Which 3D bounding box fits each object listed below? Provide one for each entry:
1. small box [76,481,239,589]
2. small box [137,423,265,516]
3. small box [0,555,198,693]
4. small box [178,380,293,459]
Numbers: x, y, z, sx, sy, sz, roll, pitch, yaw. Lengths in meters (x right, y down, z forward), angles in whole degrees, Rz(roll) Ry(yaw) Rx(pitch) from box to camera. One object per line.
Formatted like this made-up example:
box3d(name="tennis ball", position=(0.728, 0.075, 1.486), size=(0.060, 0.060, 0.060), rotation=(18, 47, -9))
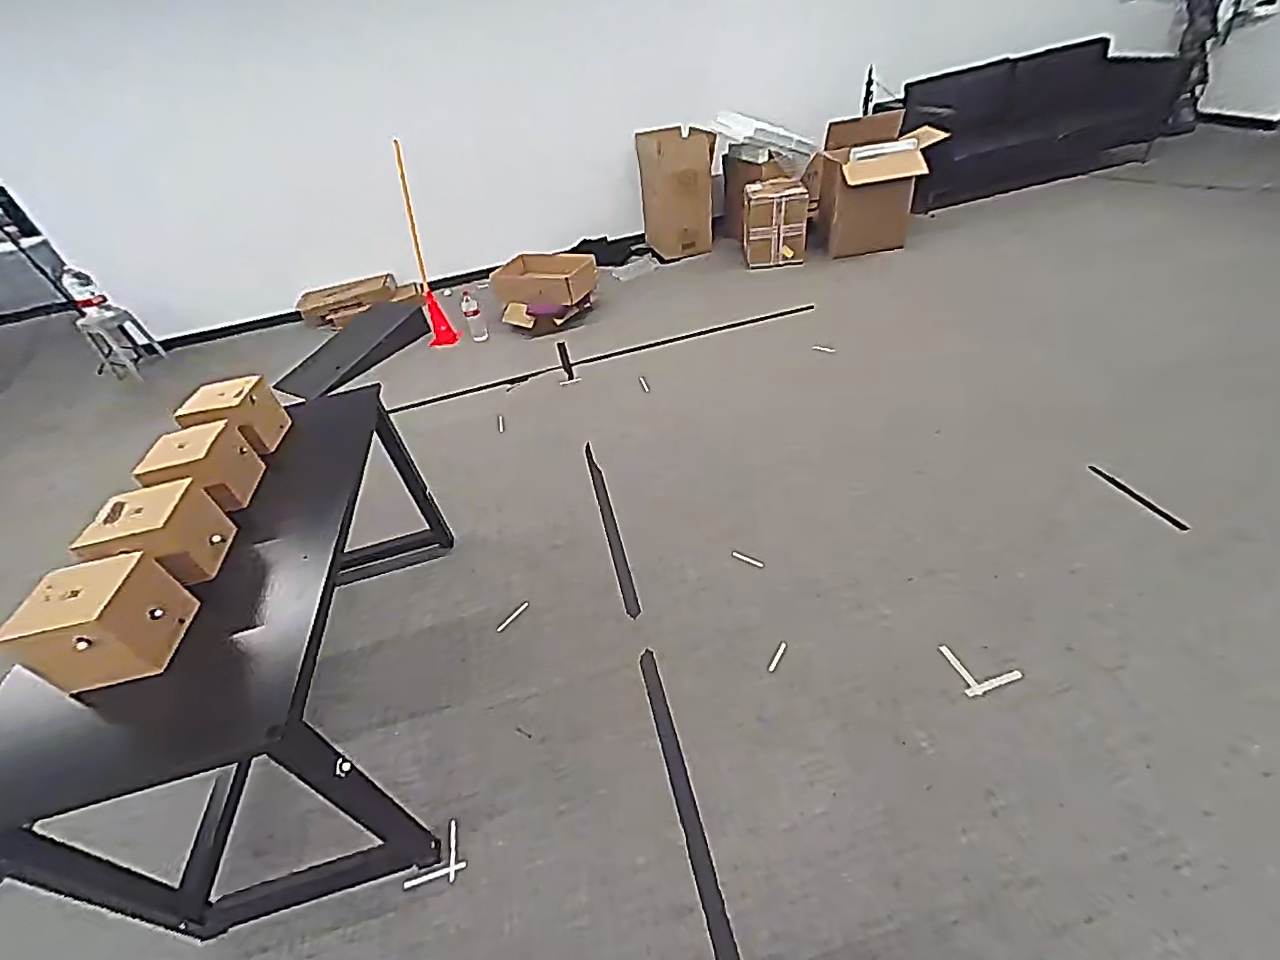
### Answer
box3d(name="small box", position=(-1.041, 0.134, 1.186), size=(0.179, 0.176, 0.168), rotation=(-15, 40, -7))
box3d(name="small box", position=(-1.100, -0.014, 1.377), size=(0.168, 0.176, 0.179), rotation=(-16, 41, -4))
box3d(name="small box", position=(-0.994, 0.271, 1.015), size=(0.179, 0.176, 0.168), rotation=(-13, 39, -3))
box3d(name="small box", position=(-1.155, -0.162, 1.559), size=(0.179, 0.176, 0.168), rotation=(-12, 41, -1))
